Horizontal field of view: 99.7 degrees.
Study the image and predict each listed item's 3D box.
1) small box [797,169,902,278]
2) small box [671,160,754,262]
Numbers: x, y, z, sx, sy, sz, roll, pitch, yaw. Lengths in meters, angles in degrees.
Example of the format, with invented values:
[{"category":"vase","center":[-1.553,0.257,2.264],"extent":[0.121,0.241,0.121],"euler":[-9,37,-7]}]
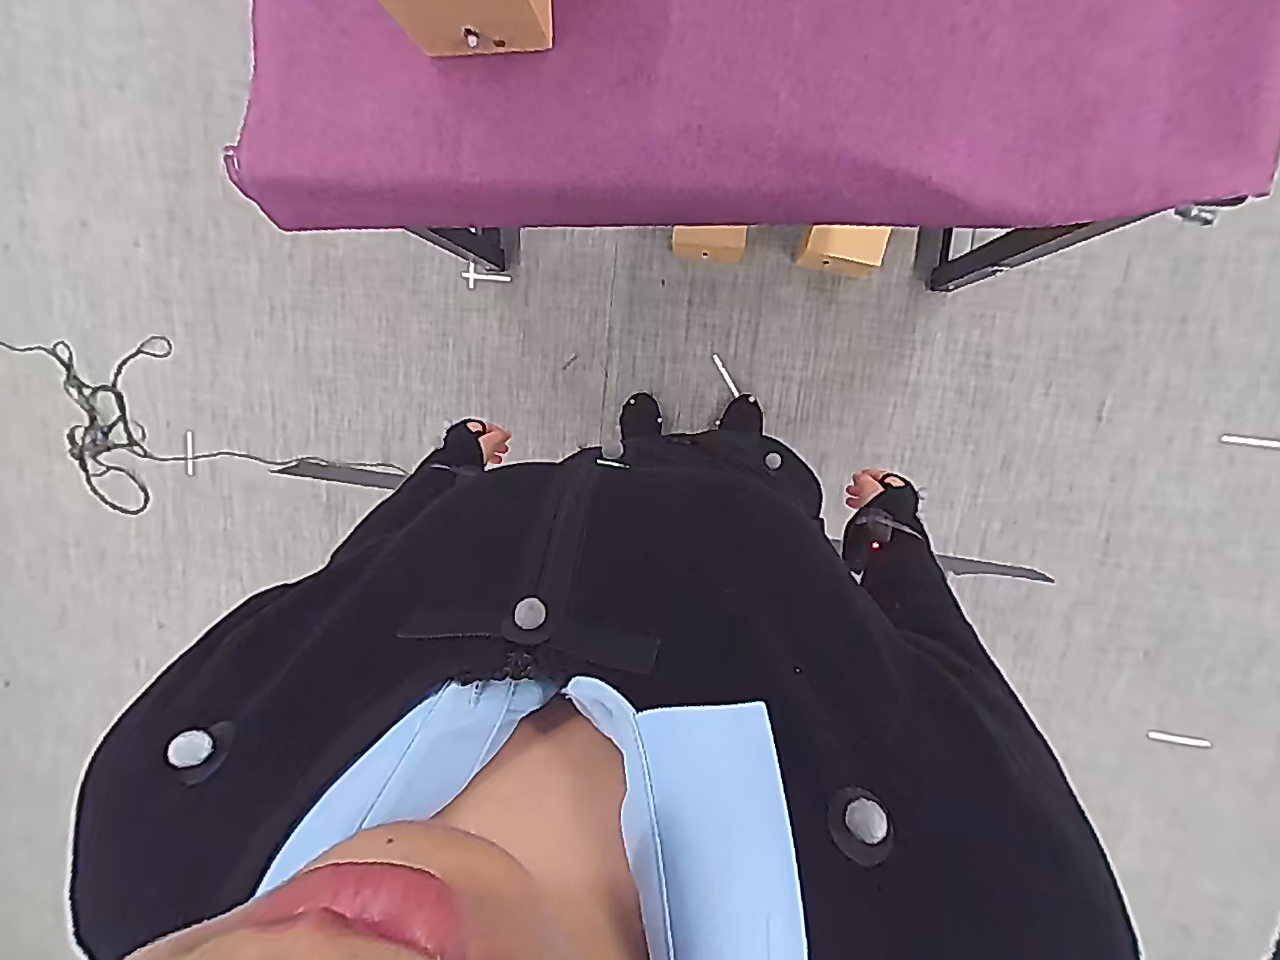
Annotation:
[{"category":"small box","center":[0.475,-0.586,1.259],"extent":[0.168,0.176,0.179],"euler":[15,101,4]},{"category":"small box","center":[0.171,-0.628,1.285],"extent":[0.168,0.176,0.179],"euler":[8,100,5]}]
